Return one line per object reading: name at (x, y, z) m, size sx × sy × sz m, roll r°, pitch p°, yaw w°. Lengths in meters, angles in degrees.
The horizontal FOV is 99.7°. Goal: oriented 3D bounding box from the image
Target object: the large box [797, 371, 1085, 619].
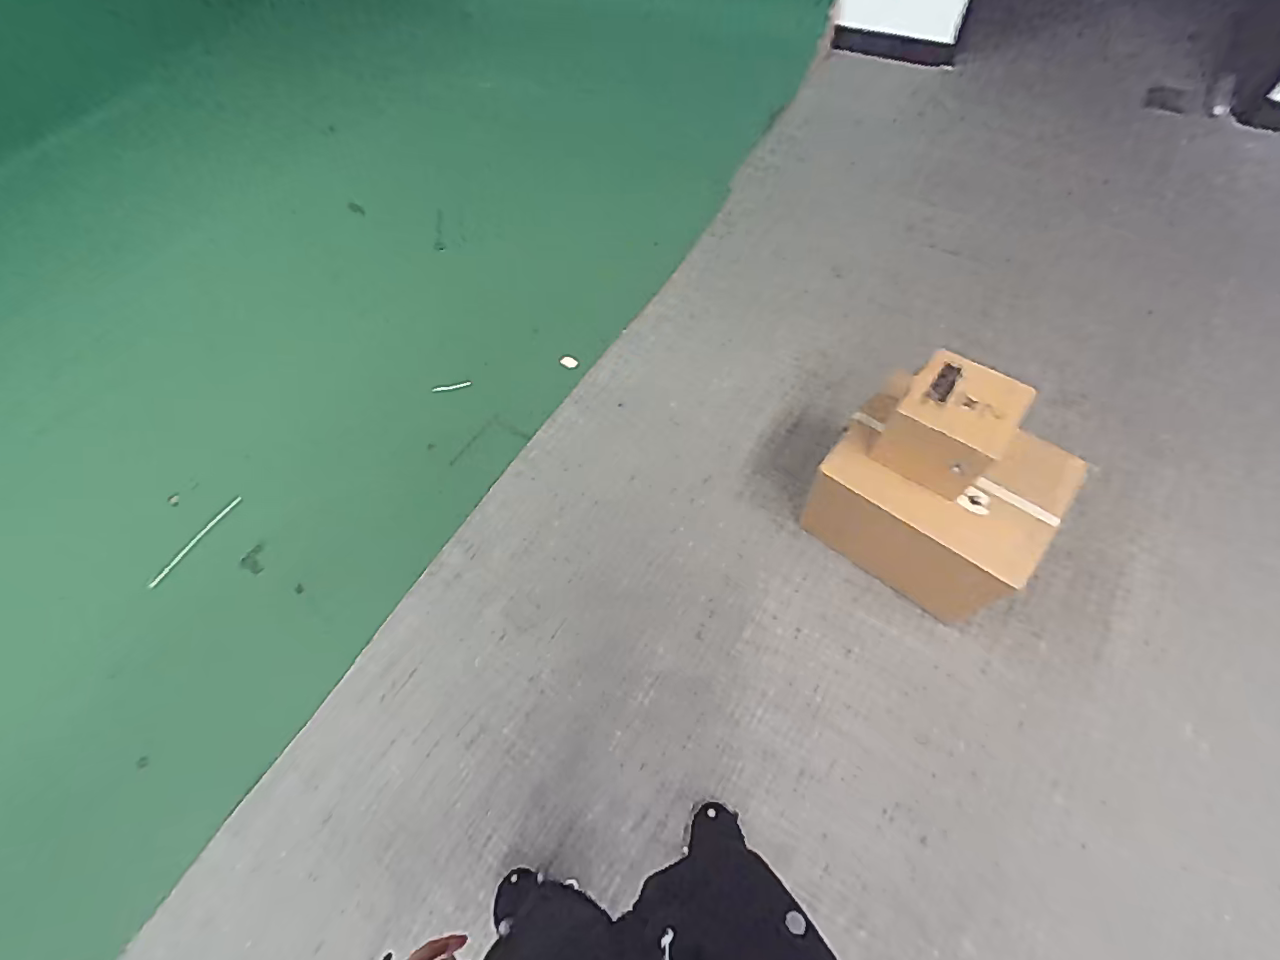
large box at (0.617, 0.038, 1.187) m, size 0.408 × 0.320 × 0.320 m, roll 35°, pitch 74°, yaw 21°
